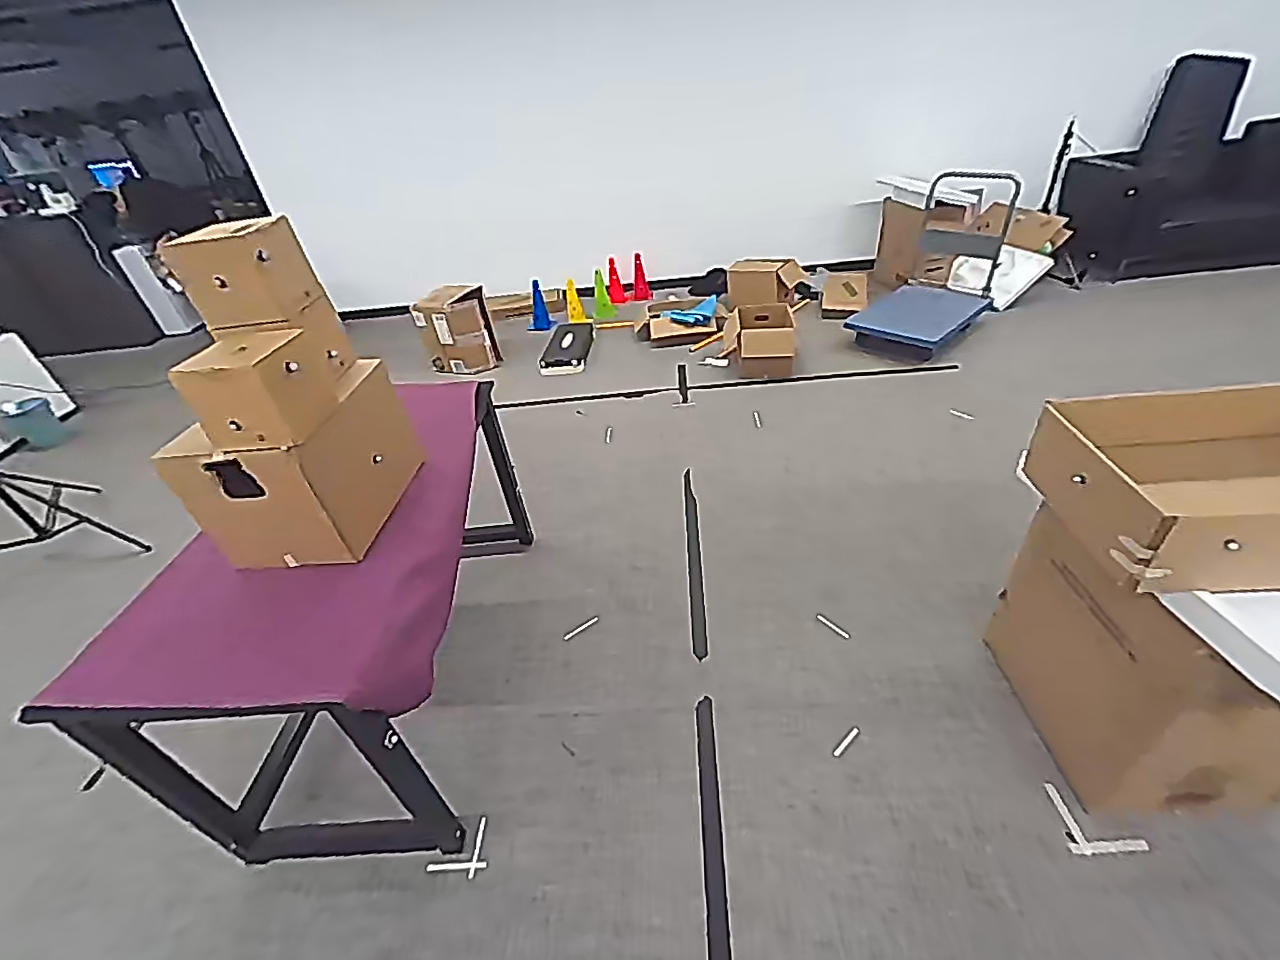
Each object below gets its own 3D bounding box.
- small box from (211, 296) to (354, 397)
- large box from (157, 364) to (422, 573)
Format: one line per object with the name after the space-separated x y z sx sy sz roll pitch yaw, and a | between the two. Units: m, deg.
-0.796 -0.300 1.226 0.179 0.176 0.168 -4 38 5 | small box
-0.773 -0.036 1.283 0.320 0.320 0.408 -6 38 6 | large box
